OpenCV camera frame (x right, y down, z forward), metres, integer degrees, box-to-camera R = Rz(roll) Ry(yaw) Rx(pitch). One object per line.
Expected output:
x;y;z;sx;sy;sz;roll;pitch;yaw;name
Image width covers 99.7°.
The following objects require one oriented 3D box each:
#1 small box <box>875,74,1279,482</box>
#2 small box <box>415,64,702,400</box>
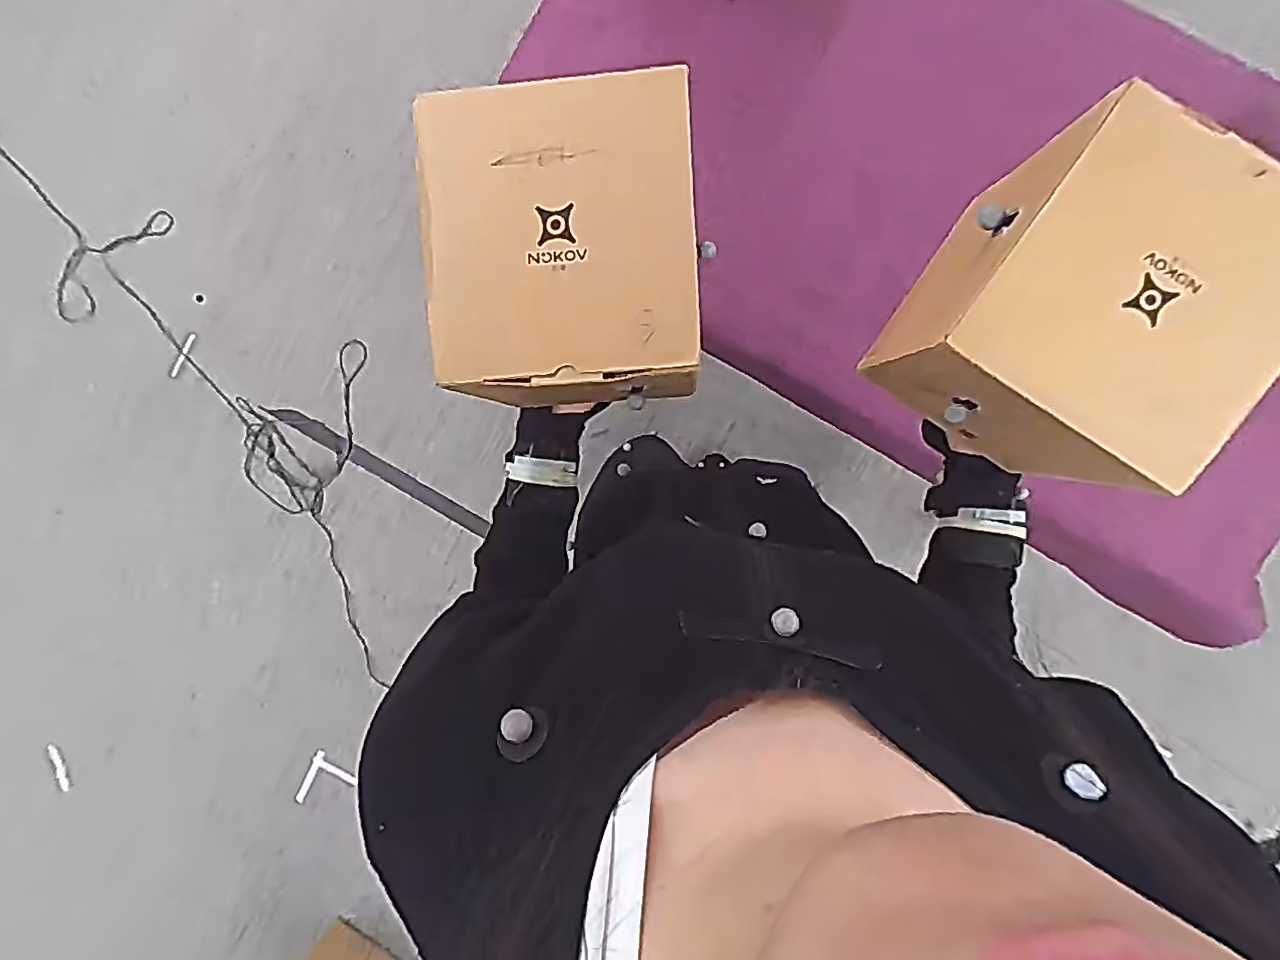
0.299;-0.119;0.388;0.168;0.176;0.179;33;96;1;small box
-0.043;-0.154;0.402;0.168;0.176;0.179;-4;93;3;small box
